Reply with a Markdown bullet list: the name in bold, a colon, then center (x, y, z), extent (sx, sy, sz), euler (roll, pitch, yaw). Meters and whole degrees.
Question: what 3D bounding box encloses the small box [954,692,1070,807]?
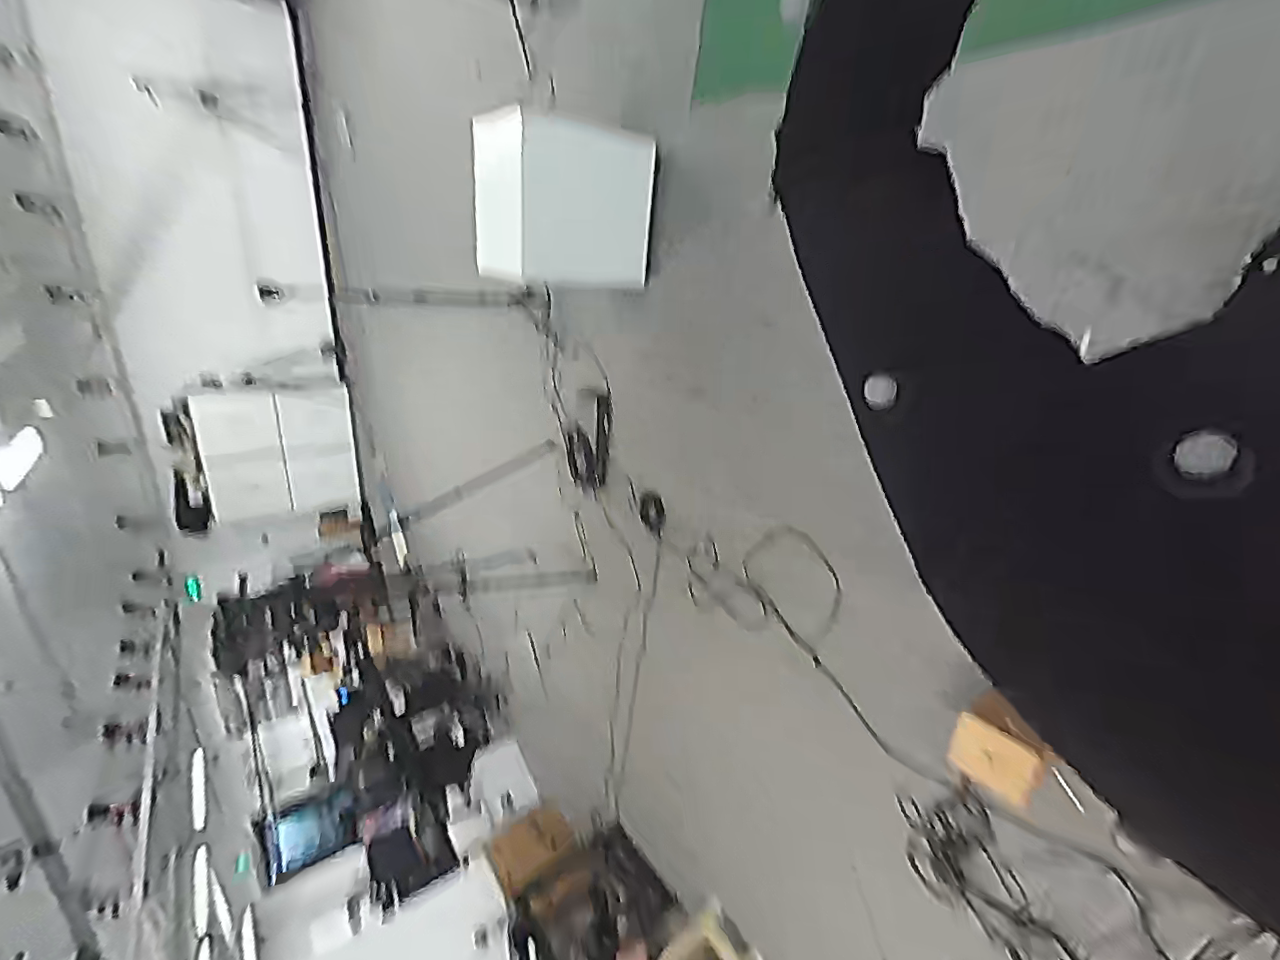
- **small box**: center (0.946, 0.671, 1.377), extent (0.179, 0.176, 0.168), euler (26, 120, 47)
